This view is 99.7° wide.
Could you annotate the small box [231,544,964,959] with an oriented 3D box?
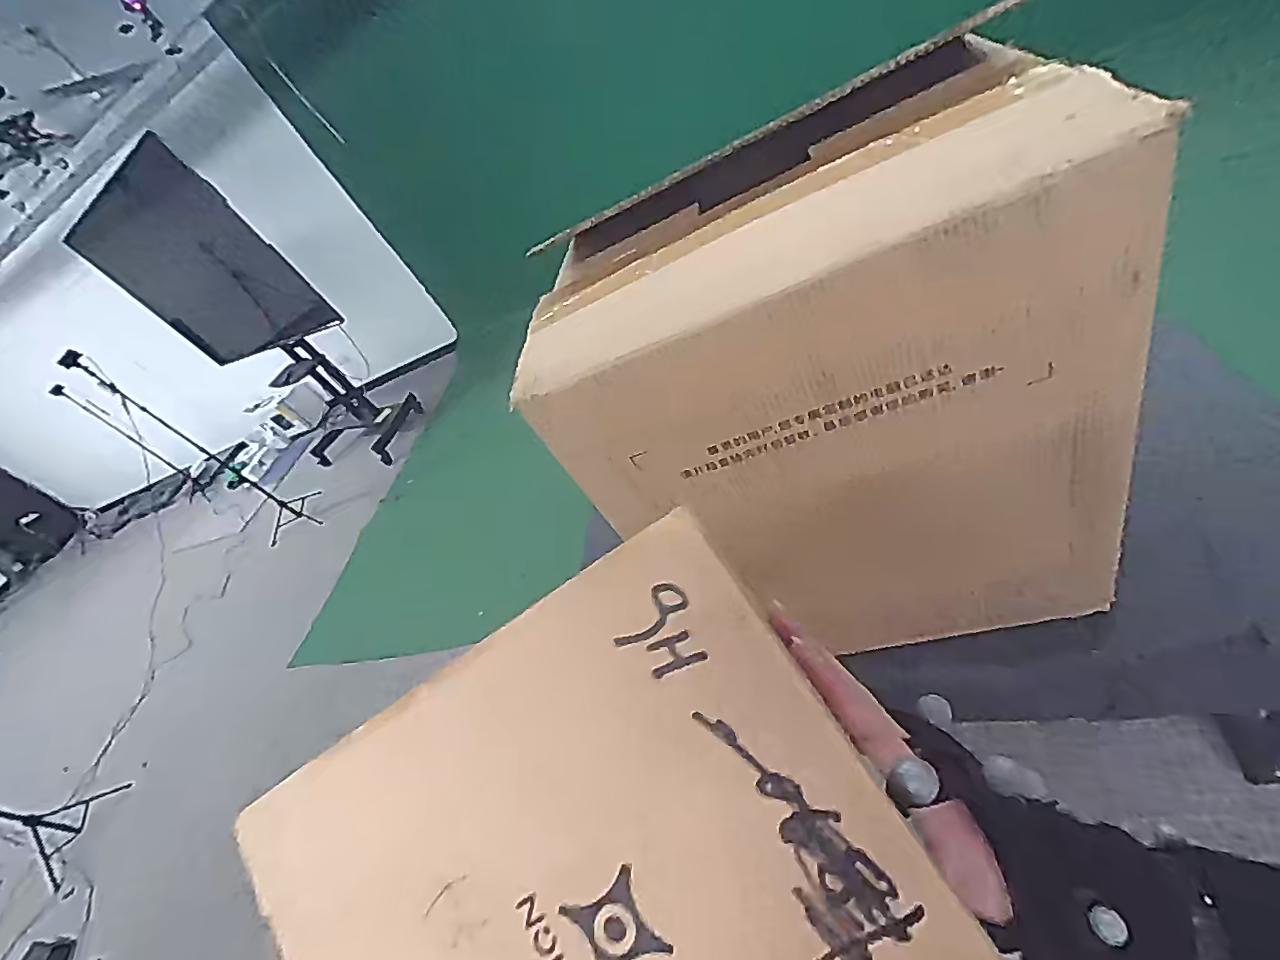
[{"bbox_3d":[0.000,0.145,0.220,0.179,0.176,0.168,-34,76,3],"label":"small box"}]
